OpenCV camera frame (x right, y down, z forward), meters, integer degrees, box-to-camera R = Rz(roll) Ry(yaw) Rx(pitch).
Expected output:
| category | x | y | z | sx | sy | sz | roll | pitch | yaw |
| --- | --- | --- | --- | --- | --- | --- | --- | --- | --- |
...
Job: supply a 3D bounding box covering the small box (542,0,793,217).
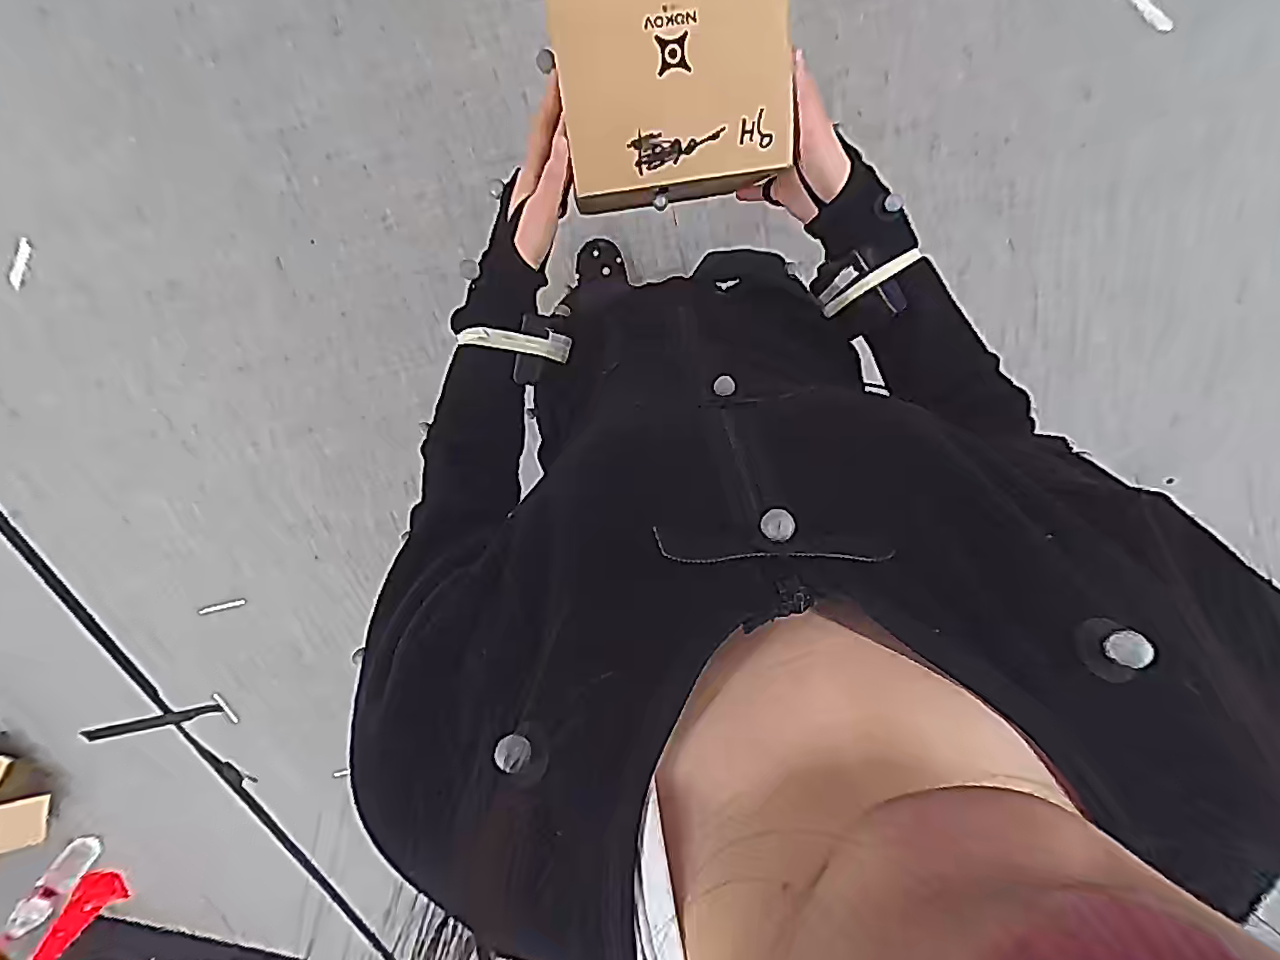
| category | x | y | z | sx | sy | sz | roll | pitch | yaw |
| --- | --- | --- | --- | --- | --- | --- | --- | --- | --- |
| small box | 0.013 | -0.327 | 0.440 | 0.168 | 0.176 | 0.179 | -10 | 112 | -2 |
